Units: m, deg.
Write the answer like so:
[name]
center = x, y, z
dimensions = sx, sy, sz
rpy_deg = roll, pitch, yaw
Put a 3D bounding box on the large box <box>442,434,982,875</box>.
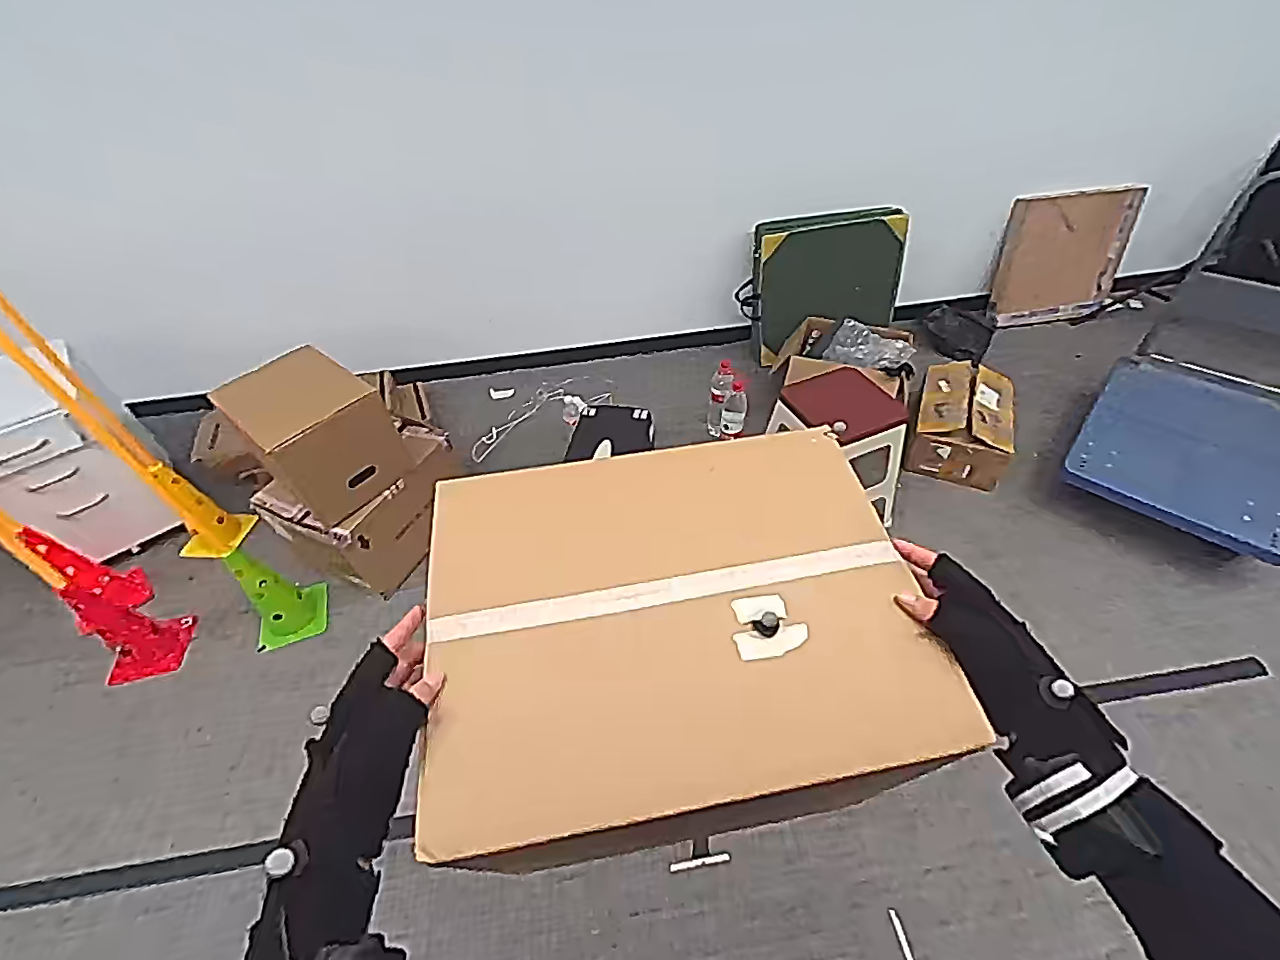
[large box]
center = 0.033, 0.190, 0.583
dimensions = 0.408, 0.320, 0.320
rpy_deg = -8, 53, -6
